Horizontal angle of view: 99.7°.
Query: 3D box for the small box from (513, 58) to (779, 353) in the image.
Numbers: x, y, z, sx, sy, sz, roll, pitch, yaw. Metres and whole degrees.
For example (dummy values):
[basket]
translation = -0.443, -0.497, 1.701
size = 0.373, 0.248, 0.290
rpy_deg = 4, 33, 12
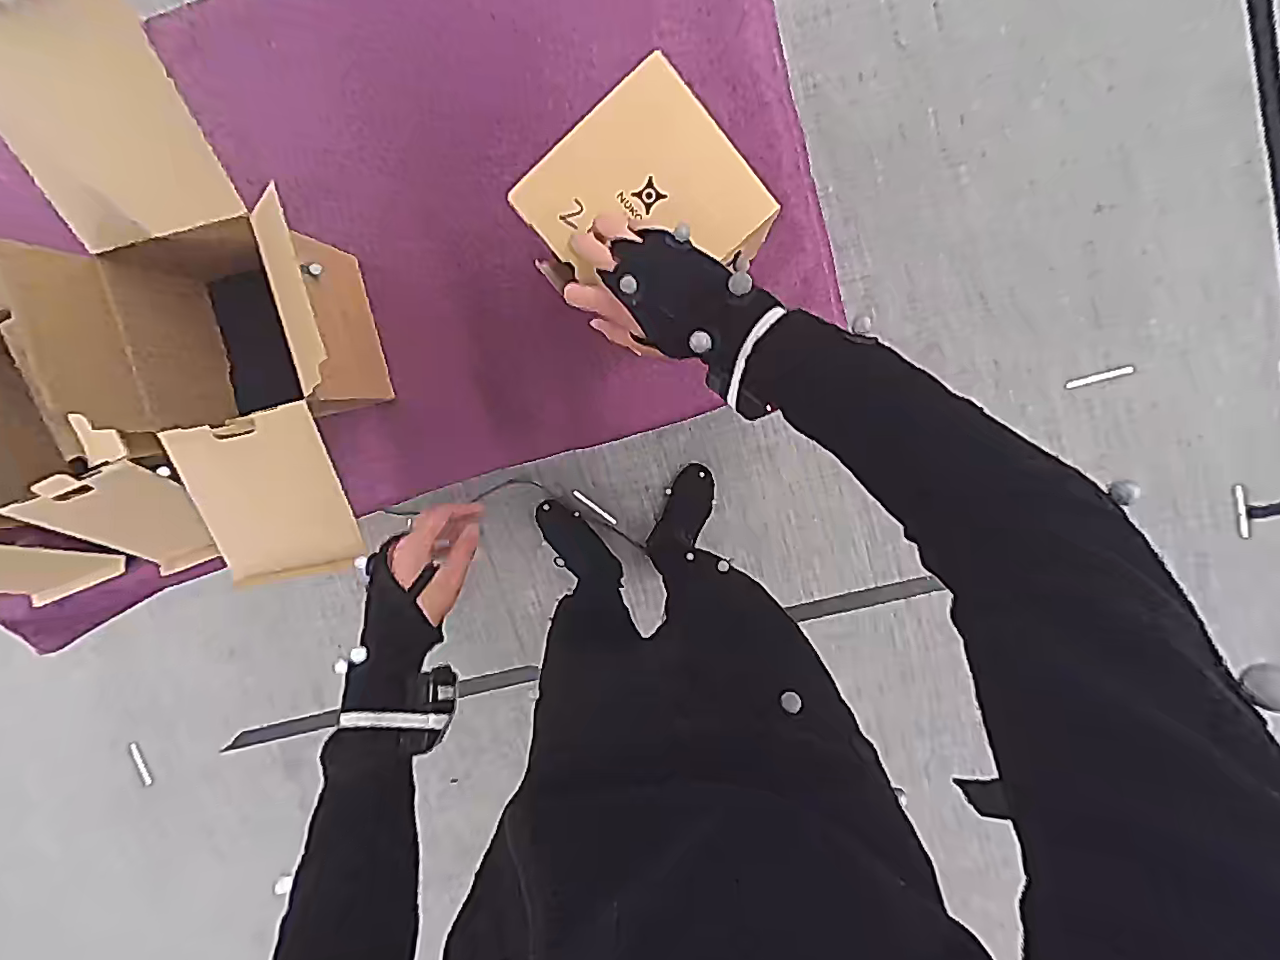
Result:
[small box]
translation = 0.008, -0.248, 0.544
size = 0.179, 0.176, 0.168
rpy_deg = -41, 94, 10
